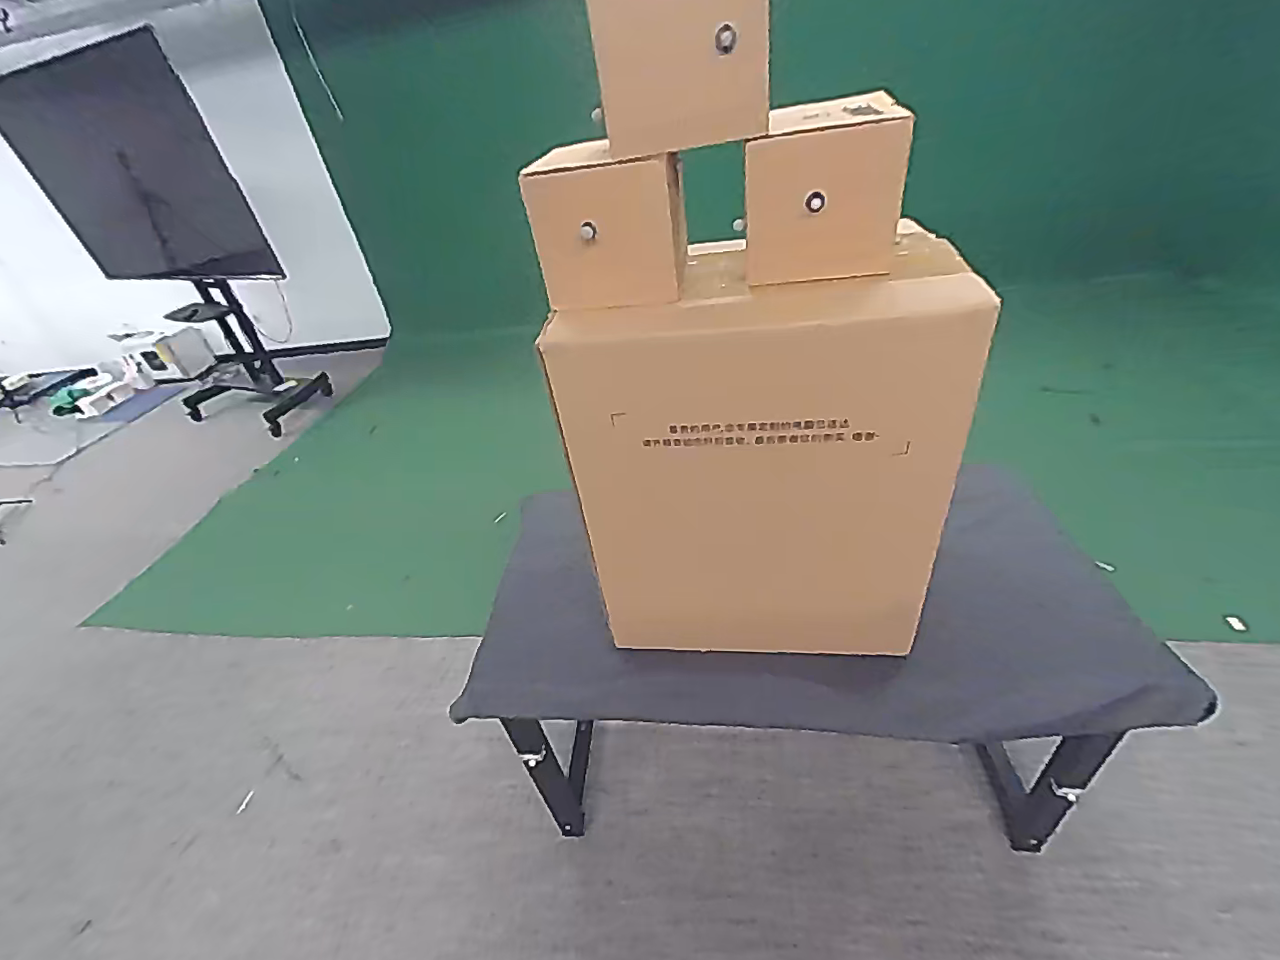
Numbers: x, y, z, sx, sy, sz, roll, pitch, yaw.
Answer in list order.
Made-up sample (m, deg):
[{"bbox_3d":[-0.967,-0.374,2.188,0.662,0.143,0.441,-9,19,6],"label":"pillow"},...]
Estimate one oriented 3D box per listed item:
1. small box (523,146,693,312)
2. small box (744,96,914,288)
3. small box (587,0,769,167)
[{"bbox_3d":[-0.030,-0.337,0.722,0.179,0.176,0.168,-1,41,12],"label":"small box"},{"bbox_3d":[0.225,-0.361,0.688,0.179,0.176,0.168,-2,41,13],"label":"small box"},{"bbox_3d":[0.043,-0.468,0.605,0.179,0.176,0.168,-9,38,4],"label":"small box"}]
